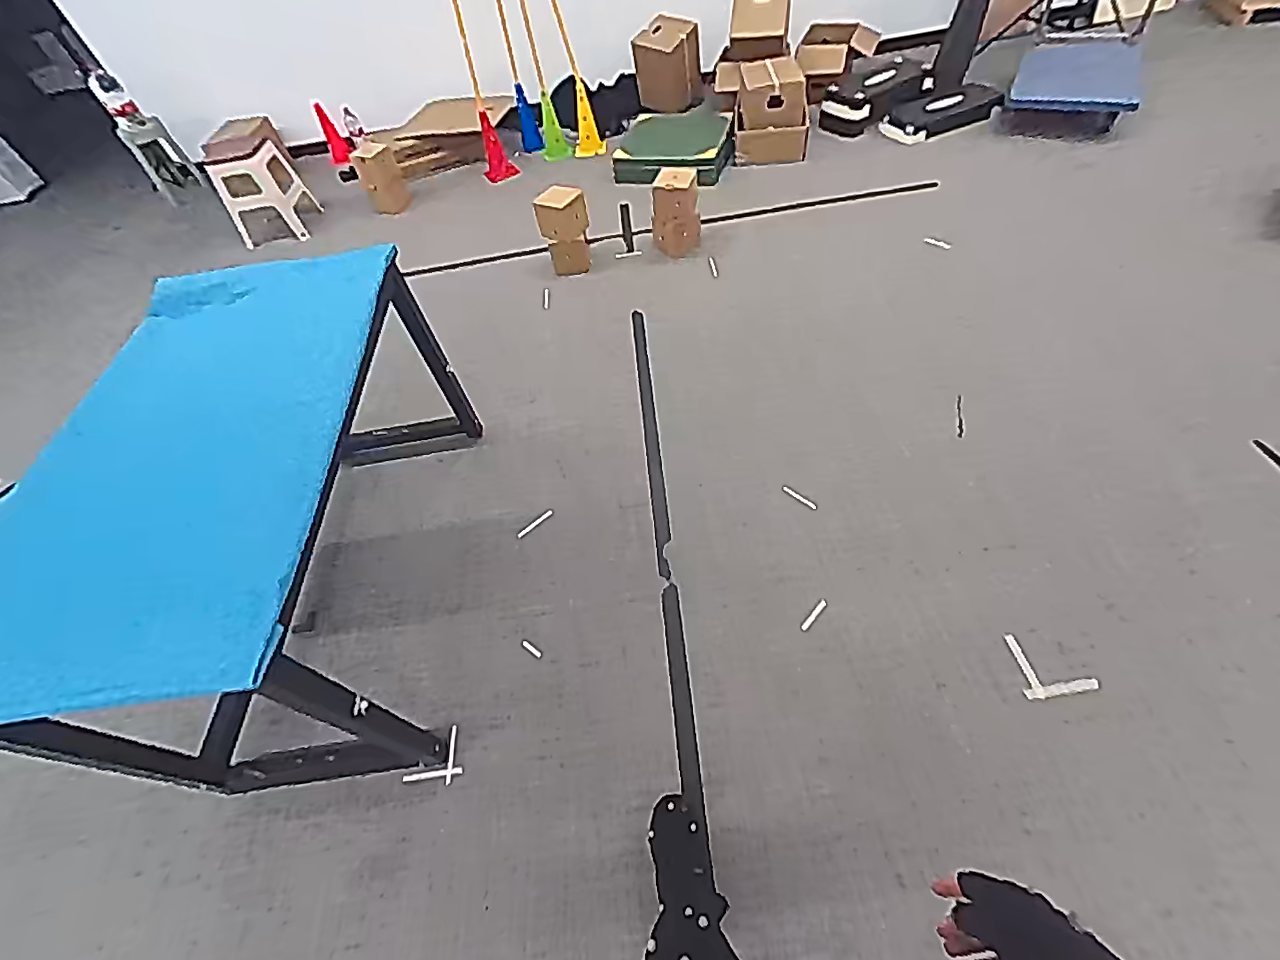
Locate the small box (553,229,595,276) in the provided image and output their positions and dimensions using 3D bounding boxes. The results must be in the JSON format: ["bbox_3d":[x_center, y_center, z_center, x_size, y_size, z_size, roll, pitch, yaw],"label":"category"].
[{"bbox_3d":[-0.317,-1.127,2.643,0.179,0.176,0.168,-7,52,5],"label":"small box"}]

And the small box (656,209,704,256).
[{"bbox_3d":[0.200,-1.222,2.632,0.179,0.176,0.168,-35,55,-17],"label":"small box"}]

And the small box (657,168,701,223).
[{"bbox_3d":[0.185,-1.311,2.493,0.168,0.176,0.179,12,56,15],"label":"small box"}]

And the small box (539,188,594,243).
[{"bbox_3d":[-0.343,-1.237,2.519,0.179,0.176,0.168,21,58,21],"label":"small box"}]
